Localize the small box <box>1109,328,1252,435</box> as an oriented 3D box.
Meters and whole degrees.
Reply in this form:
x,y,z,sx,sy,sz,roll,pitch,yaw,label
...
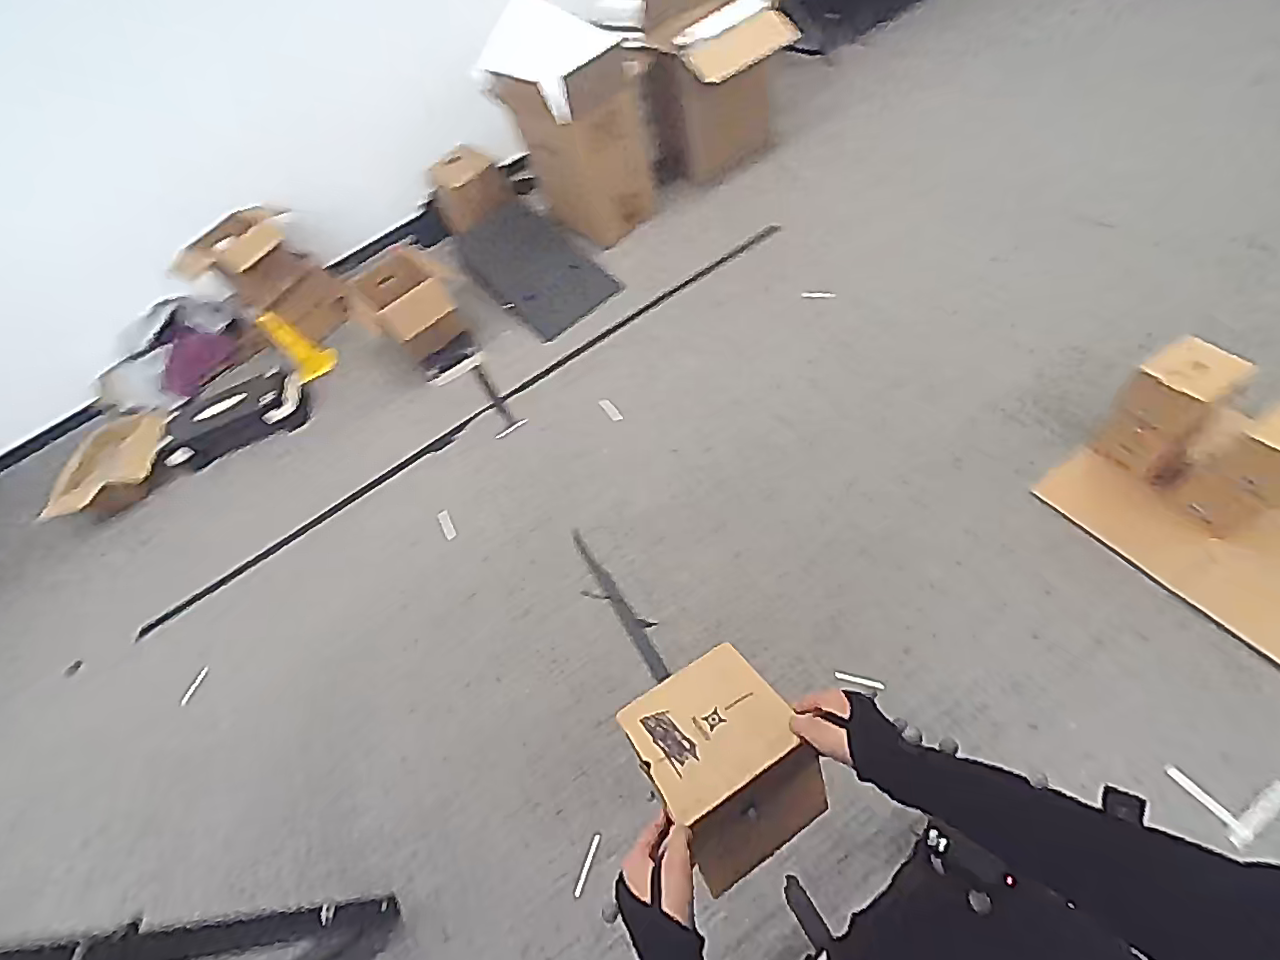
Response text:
x,y,z,sx,sy,sz,roll,pitch,yaw,label
1.386,-0.252,1.405,0.179,0.176,0.168,-32,53,-4,small box

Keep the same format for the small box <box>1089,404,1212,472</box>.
x,y,z,sx,sy,sz,roll,pitch,yaw,label
1.428,-0.153,1.531,0.179,0.176,0.168,-33,53,-4,small box

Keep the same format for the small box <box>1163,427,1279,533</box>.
x,y,z,sx,sy,sz,roll,pitch,yaw,label
1.527,0.003,1.396,0.179,0.176,0.168,-31,54,-4,small box
